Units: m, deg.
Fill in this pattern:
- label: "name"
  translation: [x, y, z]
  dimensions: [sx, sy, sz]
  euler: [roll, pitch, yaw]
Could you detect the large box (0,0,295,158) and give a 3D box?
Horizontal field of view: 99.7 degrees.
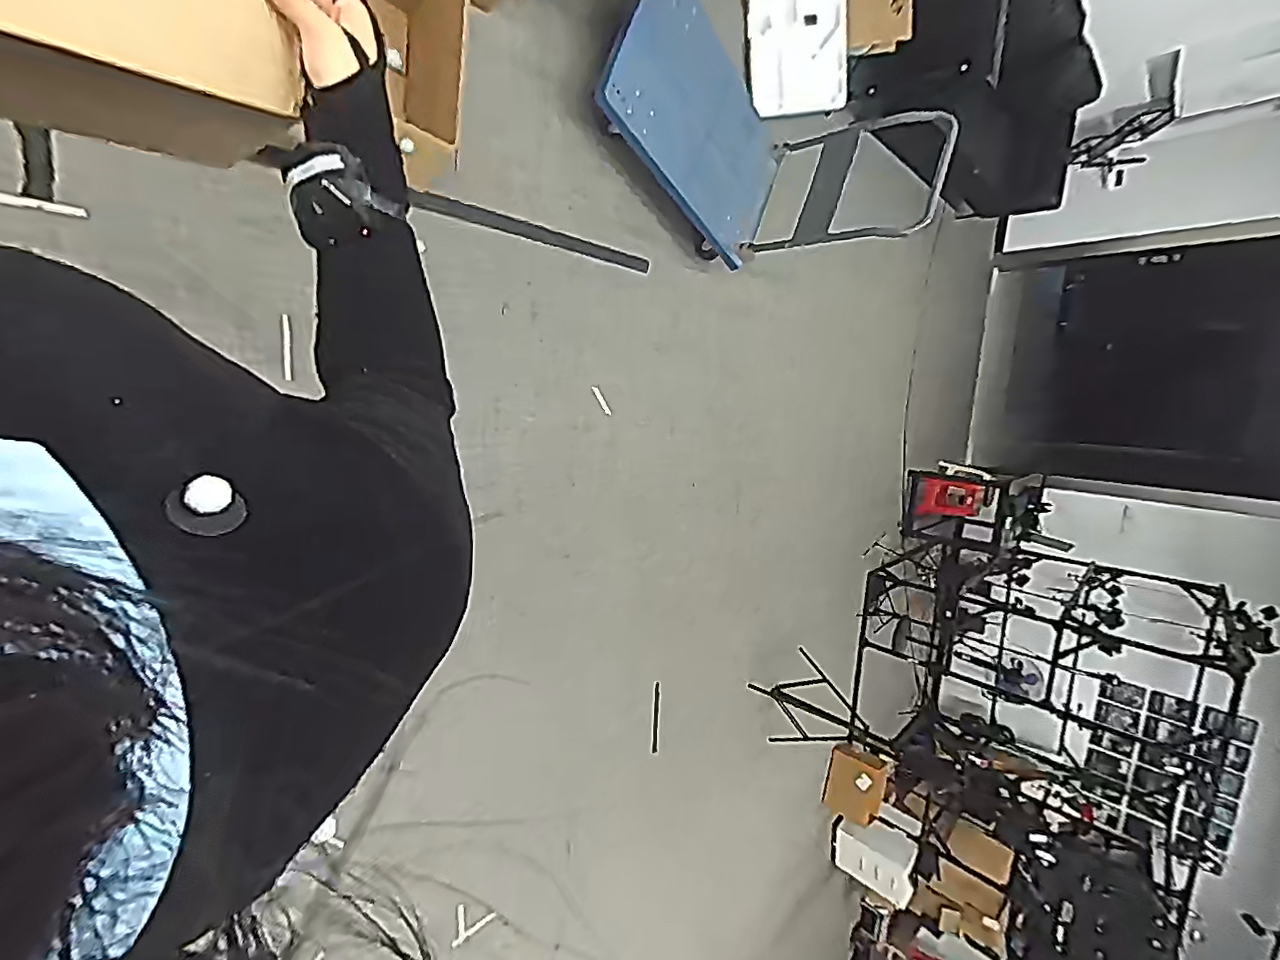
- label: "large box"
  translation: [-0.506, -0.455, 0.360]
  dimensions: [0.408, 0.320, 0.320]
  euler: [-9, 110, -43]
